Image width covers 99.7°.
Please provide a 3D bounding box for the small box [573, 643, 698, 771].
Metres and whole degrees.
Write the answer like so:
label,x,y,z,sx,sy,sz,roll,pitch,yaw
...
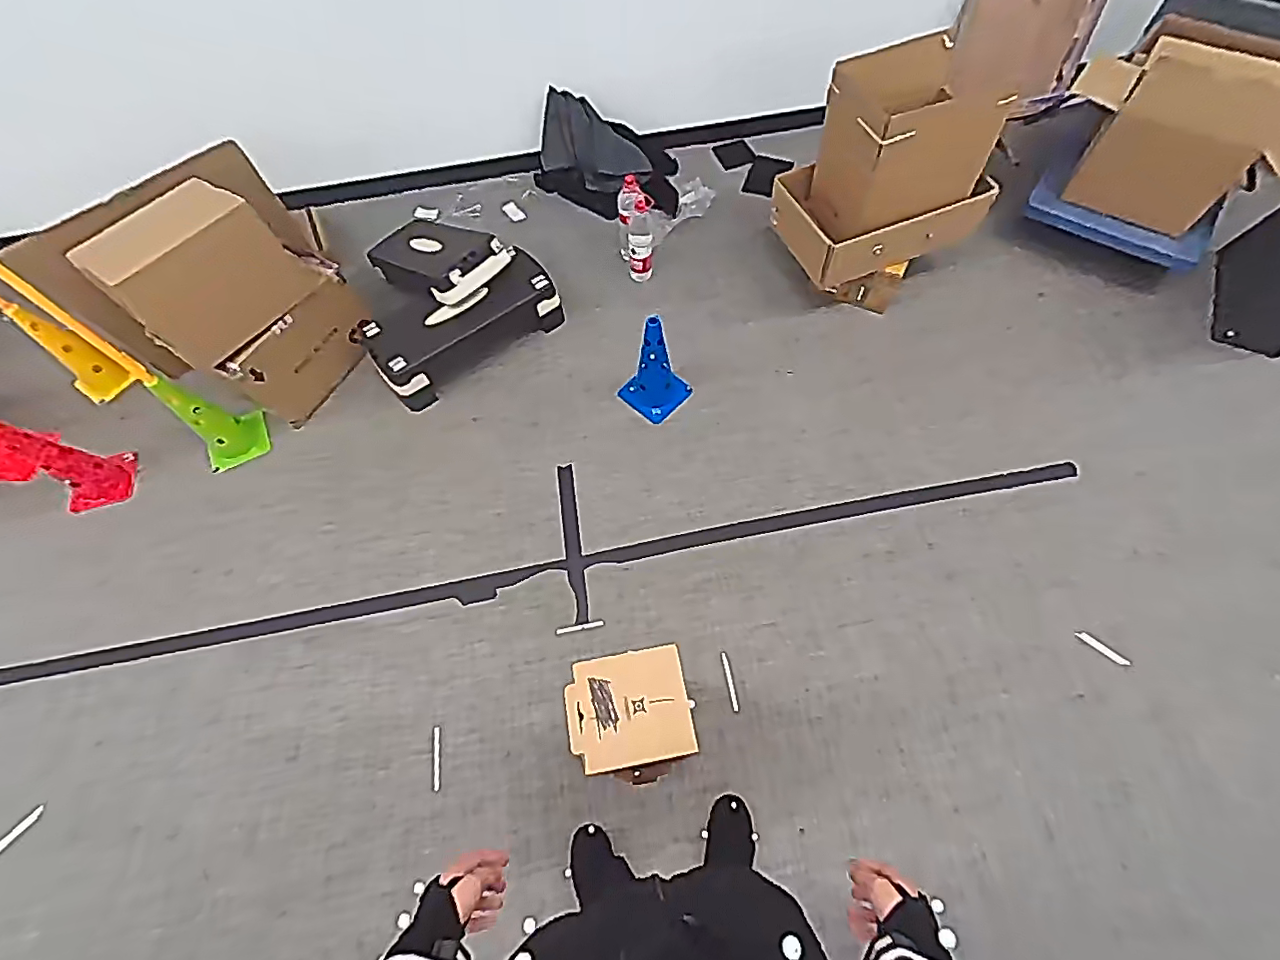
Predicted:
label,x,y,z,sx,sy,sz,roll,pitch,yaw
small box,-0.007,0.388,0.914,0.179,0.176,0.168,-10,63,-3
